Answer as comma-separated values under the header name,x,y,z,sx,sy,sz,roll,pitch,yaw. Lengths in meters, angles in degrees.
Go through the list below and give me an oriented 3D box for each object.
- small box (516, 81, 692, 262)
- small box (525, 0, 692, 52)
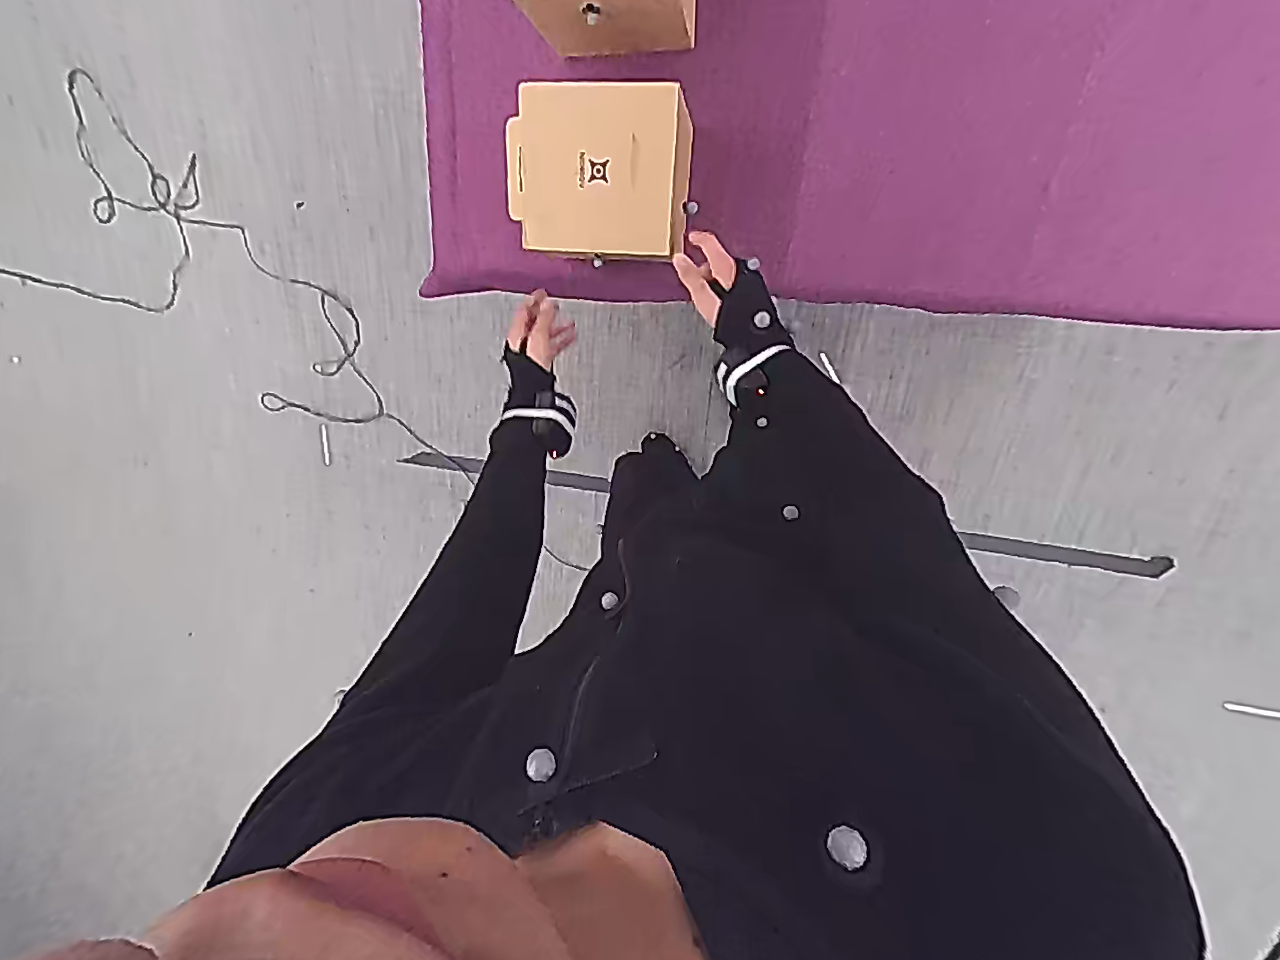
name,x,y,z,sx,sy,sz,roll,pitch,yaw
small box,-0.037,-0.361,0.661,0.179,0.176,0.168,6,110,8
small box,-0.036,-0.589,0.580,0.179,0.176,0.168,4,111,9
